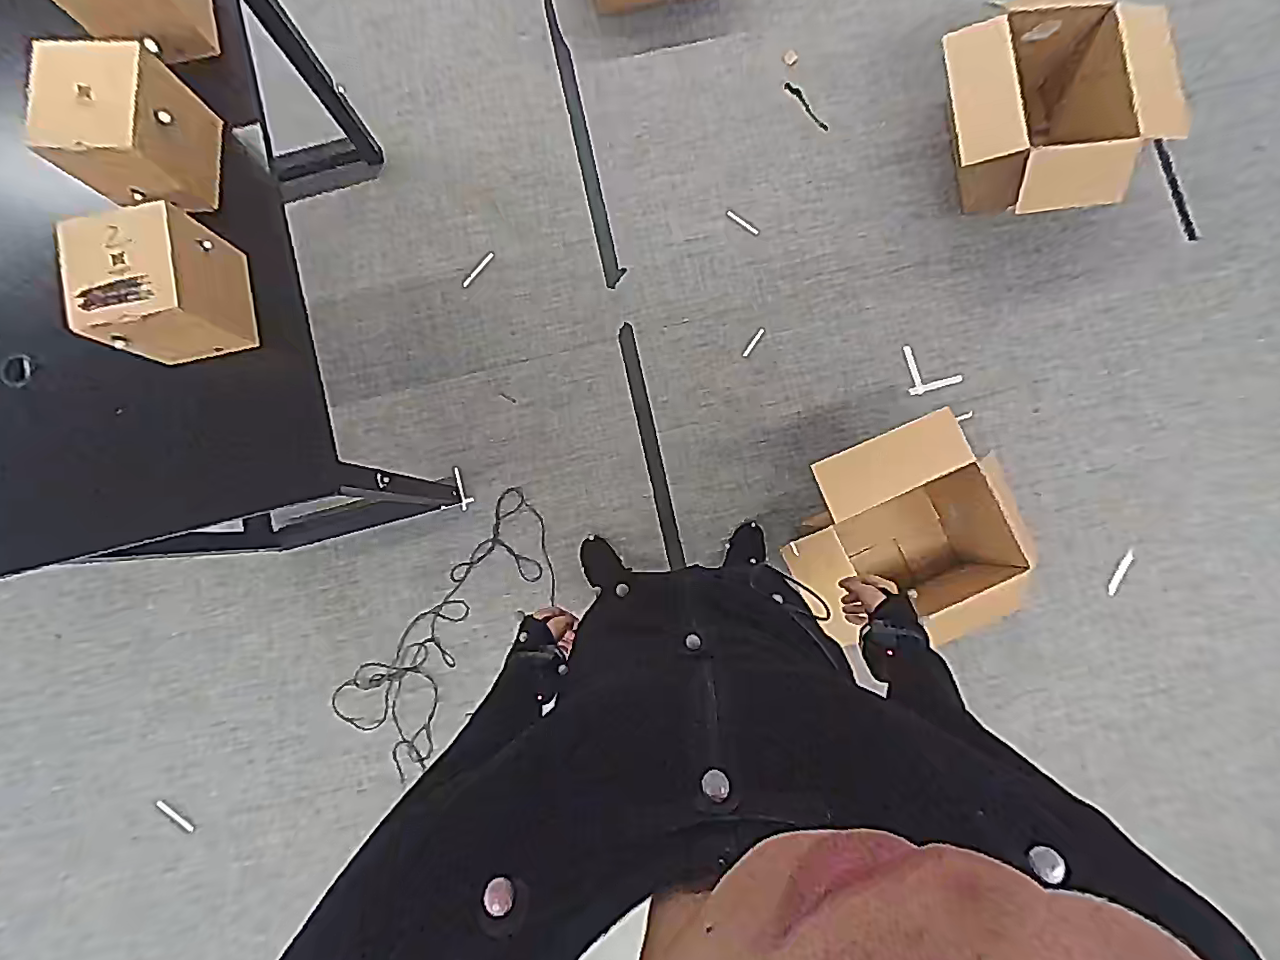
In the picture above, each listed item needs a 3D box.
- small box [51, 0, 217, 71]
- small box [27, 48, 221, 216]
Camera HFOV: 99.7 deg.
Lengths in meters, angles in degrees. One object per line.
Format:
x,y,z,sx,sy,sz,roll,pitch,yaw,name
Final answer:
-0.873,-0.848,0.922,0.168,0.176,0.179,-12,87,0,small box
-0.843,-0.570,0.902,0.168,0.176,0.179,-1,86,1,small box
